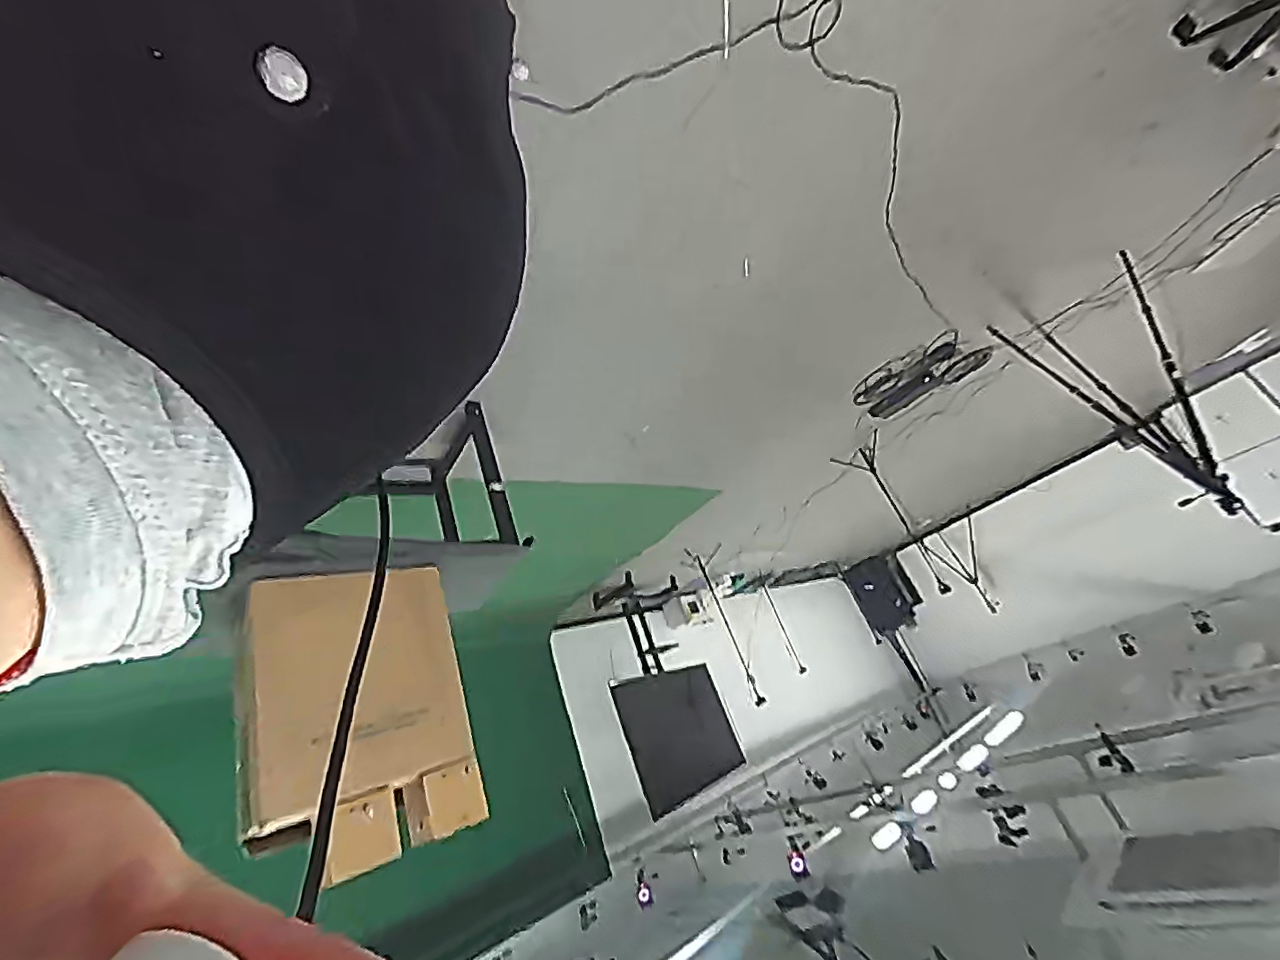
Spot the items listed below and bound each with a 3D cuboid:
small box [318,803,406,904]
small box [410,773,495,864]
[{"bbox_3d":[-0.733,0.972,1.415,0.168,0.176,0.179,1,145,-41],"label":"small box"},{"bbox_3d":[-0.551,0.976,1.572,0.168,0.176,0.179,3,146,-43],"label":"small box"}]
